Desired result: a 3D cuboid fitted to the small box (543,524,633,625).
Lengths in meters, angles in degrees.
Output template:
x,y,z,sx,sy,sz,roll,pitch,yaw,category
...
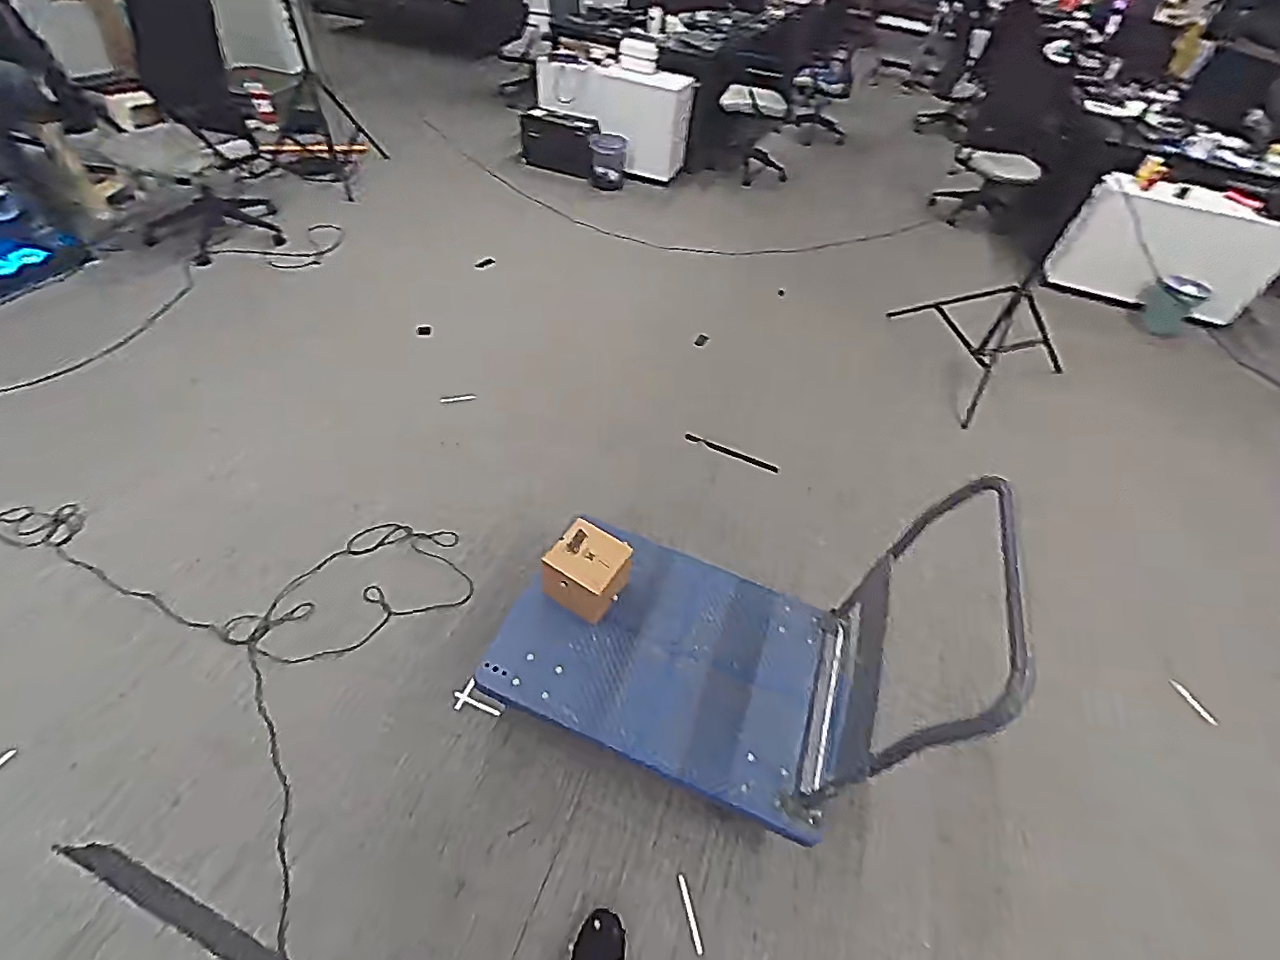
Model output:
x,y,z,sx,sy,sz,roll,pitch,yaw,category
-0.140,0.255,1.437,0.179,0.176,0.168,29,51,16,small box
